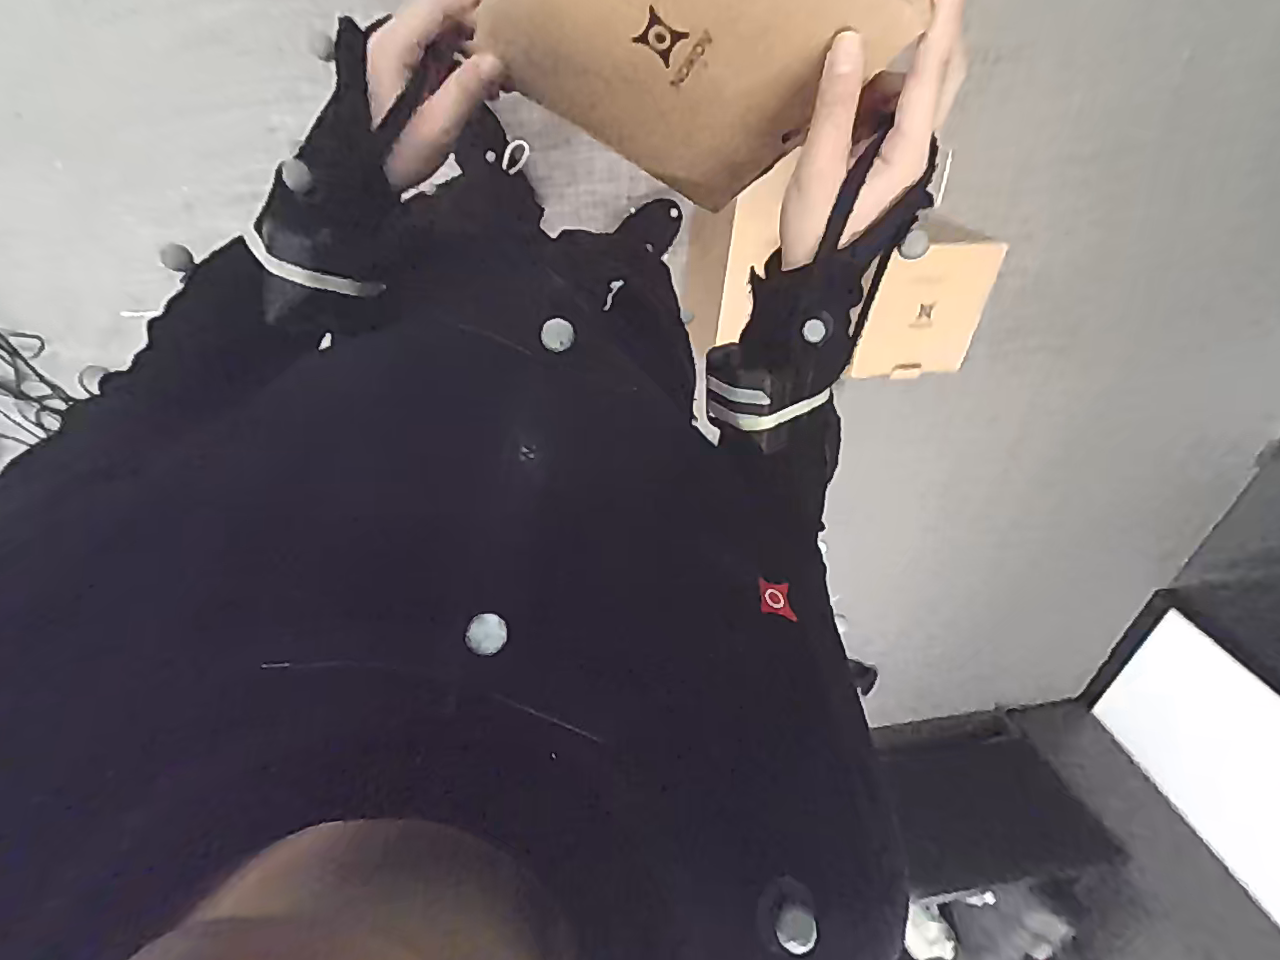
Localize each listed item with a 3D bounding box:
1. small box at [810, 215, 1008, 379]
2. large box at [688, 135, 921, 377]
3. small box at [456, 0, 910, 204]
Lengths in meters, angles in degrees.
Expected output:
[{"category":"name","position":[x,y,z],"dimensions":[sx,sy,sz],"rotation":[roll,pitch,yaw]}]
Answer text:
[{"category":"small box","position":[0.357,-0.260,0.760],"dimensions":[0.168,0.176,0.179],"rotation":[-5,126,-7]},{"category":"large box","position":[0.292,-0.462,1.110],"dimensions":[0.320,0.320,0.408],"rotation":[-1,127,-7]},{"category":"small box","position":[0.025,-0.296,0.279],"dimensions":[0.179,0.168,0.176],"rotation":[19,79,-22]}]
